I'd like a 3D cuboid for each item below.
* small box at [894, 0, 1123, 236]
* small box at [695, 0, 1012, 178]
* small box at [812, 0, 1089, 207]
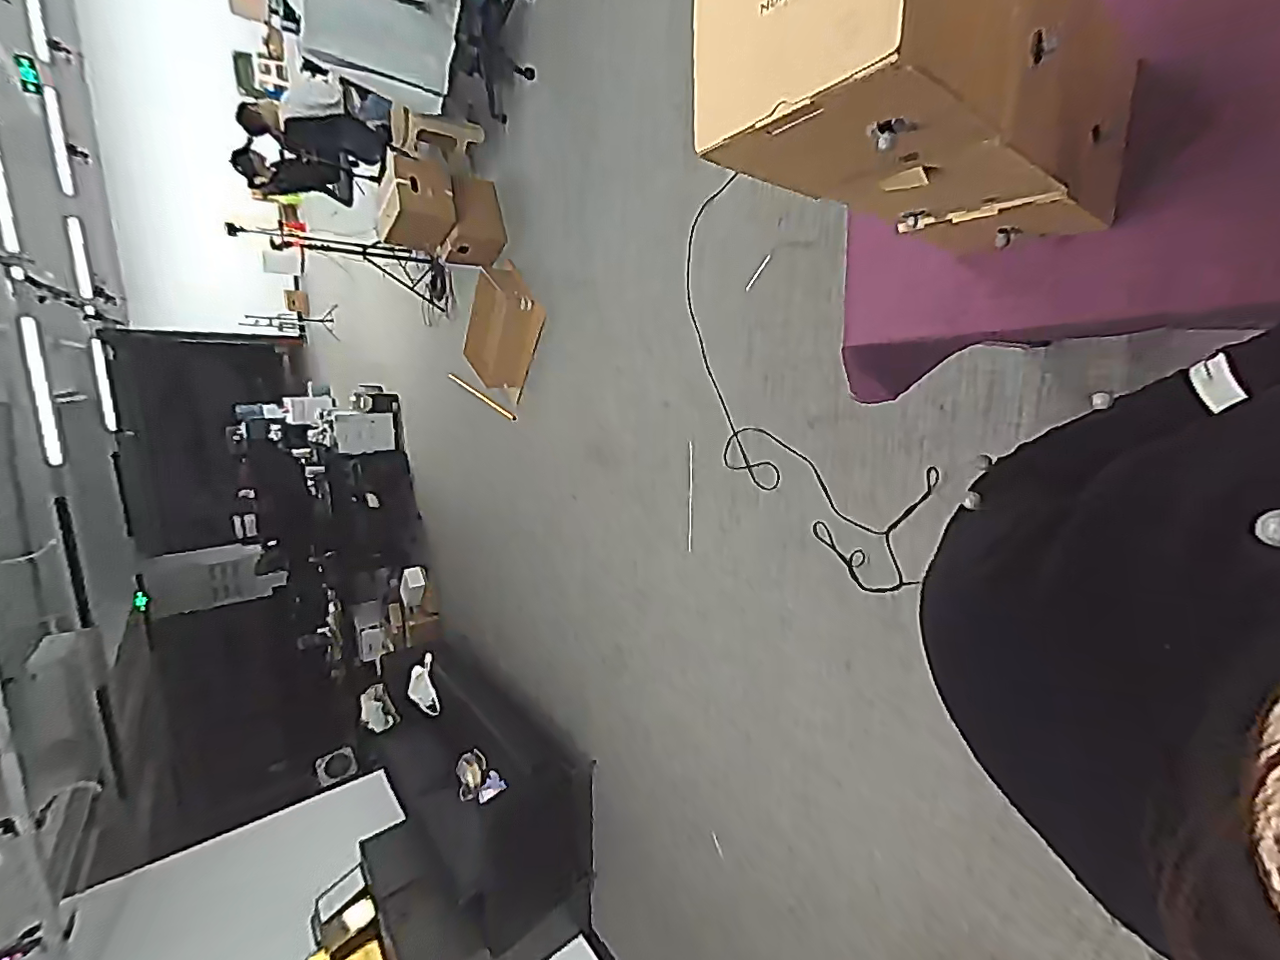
[{"bbox_3d":[0.411,-0.383,0.608,0.168,0.176,0.179,13,108,48],"label":"small box"},{"bbox_3d":[0.158,-0.346,0.402,0.168,0.176,0.179,12,106,49],"label":"small box"},{"bbox_3d":[0.284,-0.369,0.502,0.168,0.176,0.179,16,108,49],"label":"small box"}]
